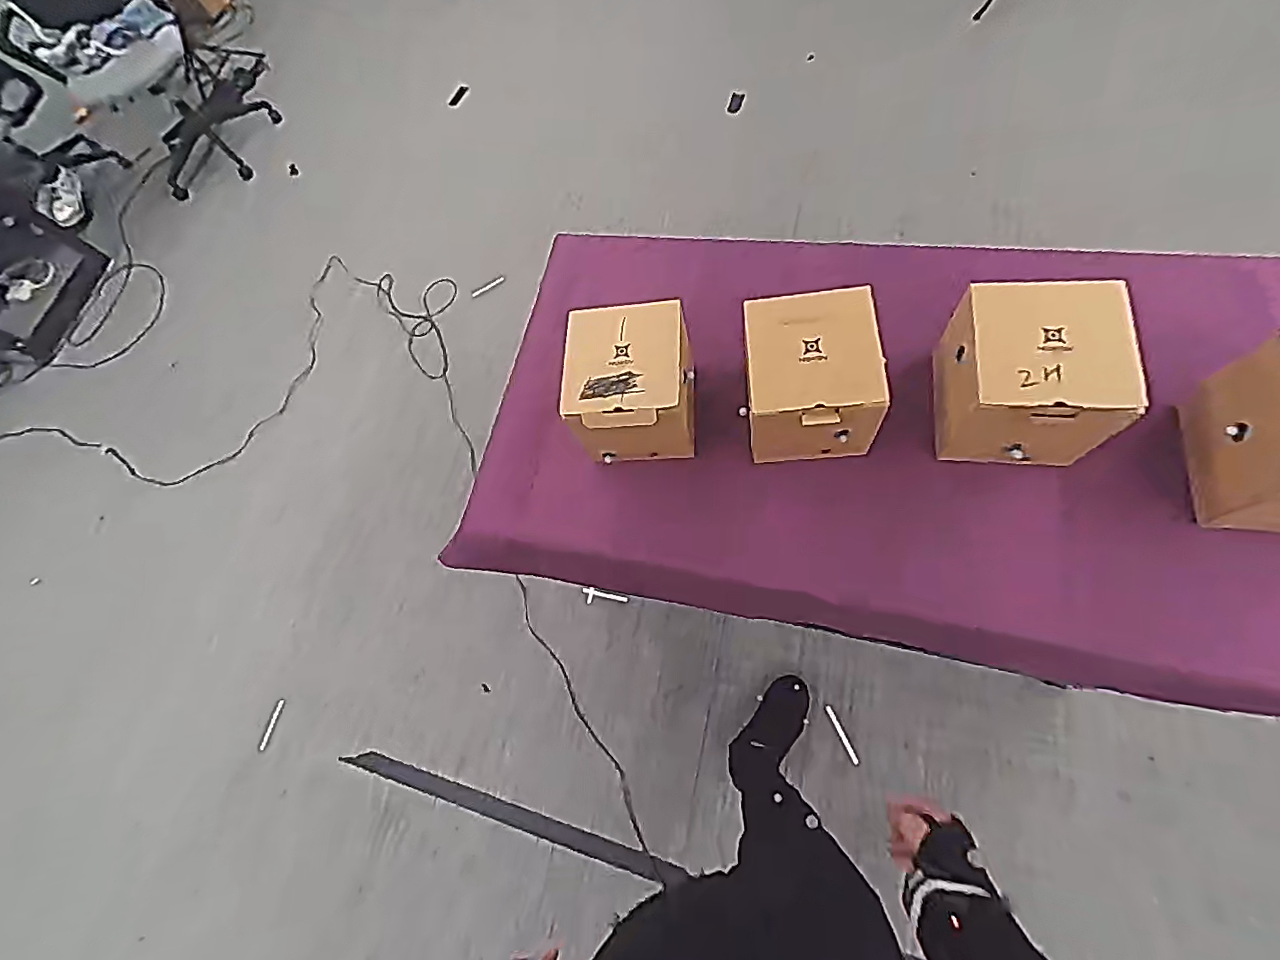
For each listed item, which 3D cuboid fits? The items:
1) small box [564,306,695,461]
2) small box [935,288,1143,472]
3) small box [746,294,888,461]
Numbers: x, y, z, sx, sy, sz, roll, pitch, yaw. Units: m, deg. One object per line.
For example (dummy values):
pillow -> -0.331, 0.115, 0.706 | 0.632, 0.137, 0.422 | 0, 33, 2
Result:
small box -> -0.006, -0.134, 0.824 | 0.168, 0.176, 0.179 | -2, 69, 12
small box -> 0.498, -0.126, 0.707 | 0.168, 0.176, 0.179 | 4, 71, 15
small box -> 0.240, -0.132, 0.770 | 0.168, 0.176, 0.179 | -3, 69, 11
